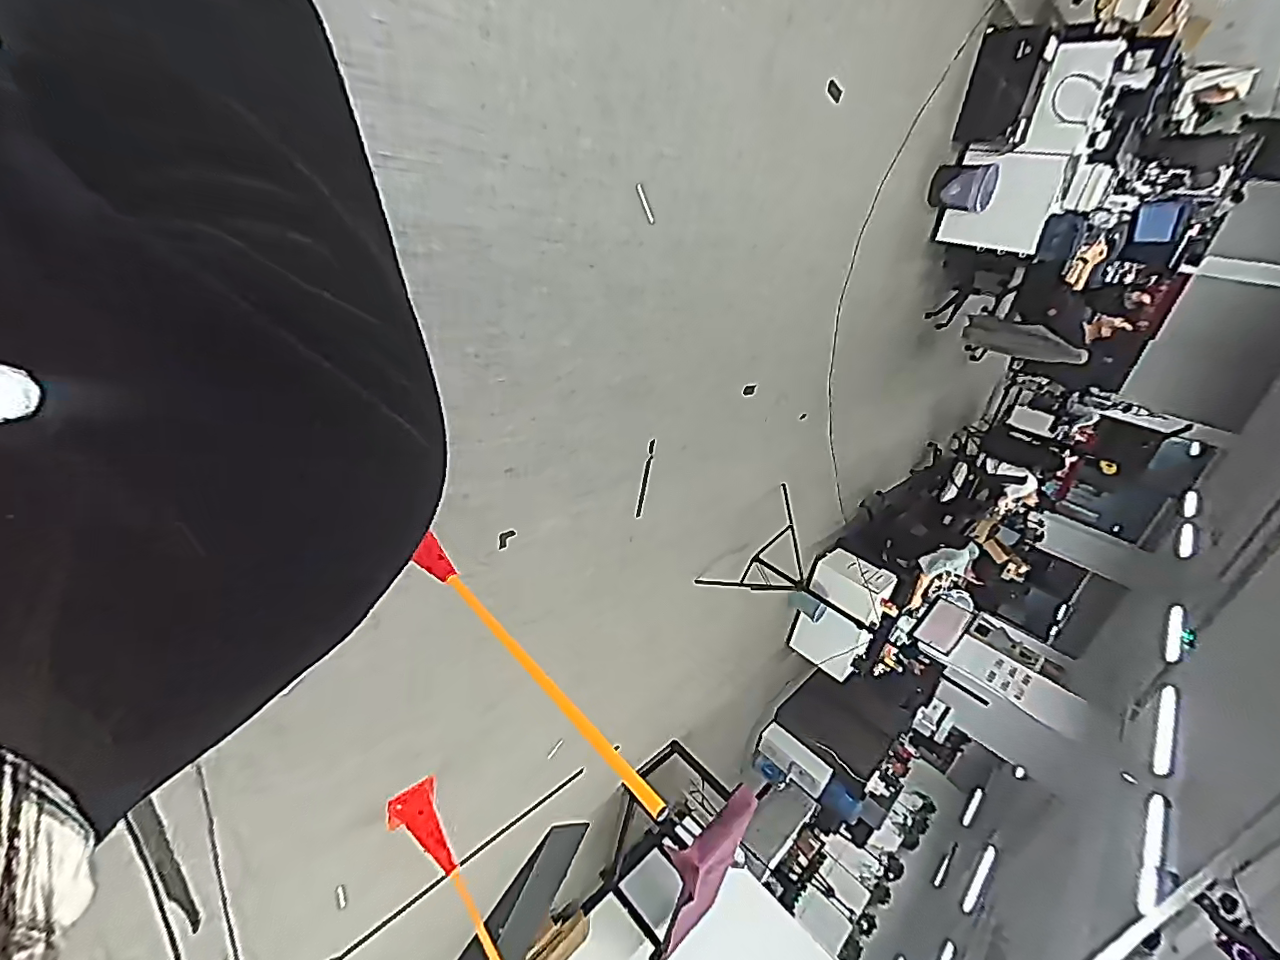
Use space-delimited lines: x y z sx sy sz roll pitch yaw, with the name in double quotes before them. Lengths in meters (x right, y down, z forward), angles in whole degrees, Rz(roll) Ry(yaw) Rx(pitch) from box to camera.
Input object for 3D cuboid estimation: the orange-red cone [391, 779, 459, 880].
"orange-red cone" -0.827 1.435 2.164 0.198 0.360 0.199 -14 126 -44
